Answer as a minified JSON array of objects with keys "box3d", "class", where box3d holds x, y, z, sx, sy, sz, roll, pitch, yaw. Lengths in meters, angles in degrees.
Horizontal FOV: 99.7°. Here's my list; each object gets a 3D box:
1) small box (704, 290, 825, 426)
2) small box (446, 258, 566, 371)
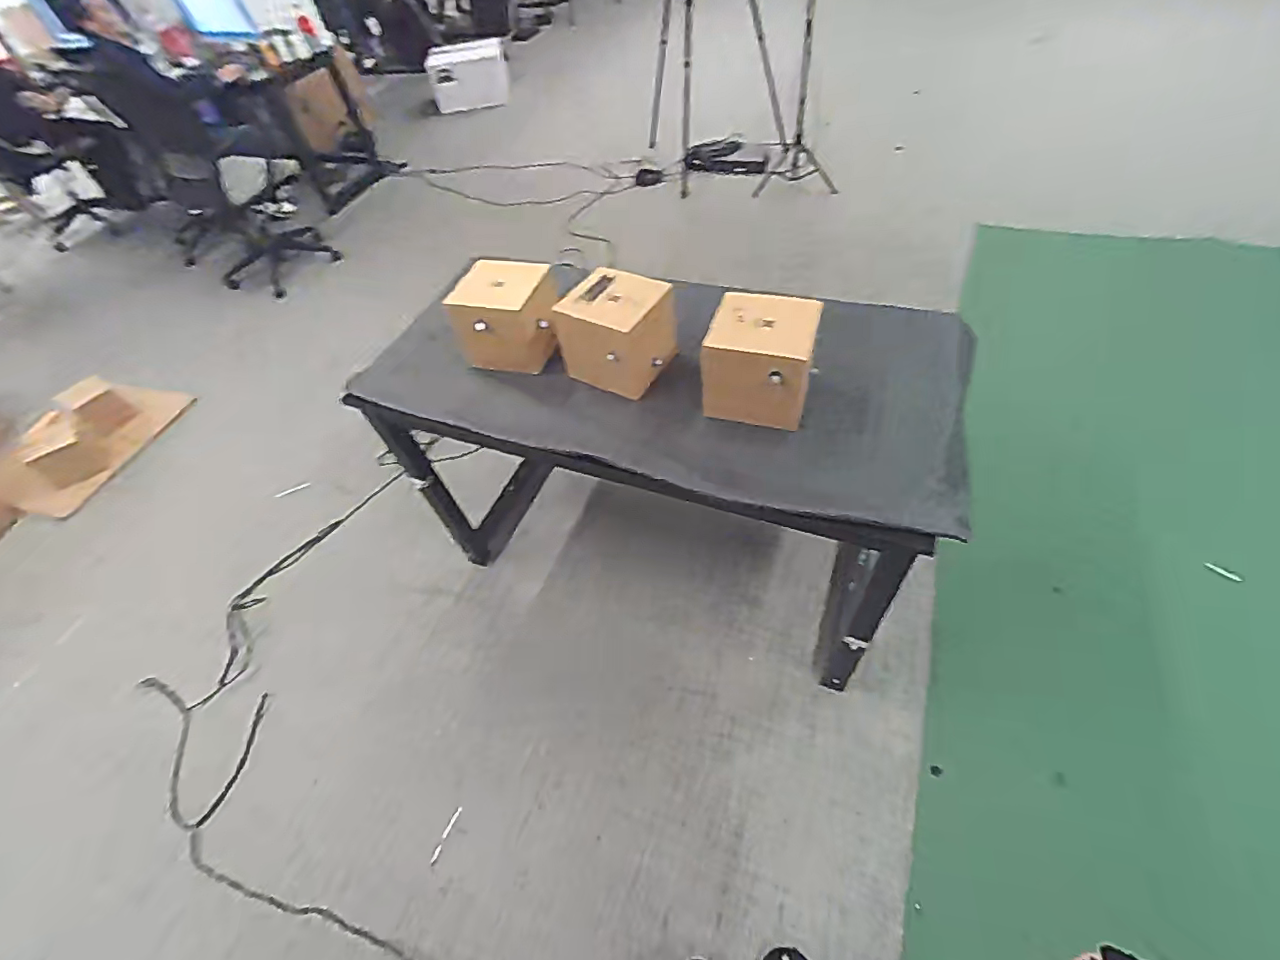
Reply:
[{"box3d":[0.225,-0.220,0.990,0.179,0.176,0.168,12,54,18],"class":"small box"},{"box3d":[-0.278,-0.355,1.174,0.179,0.176,0.168,10,54,15],"class":"small box"}]
